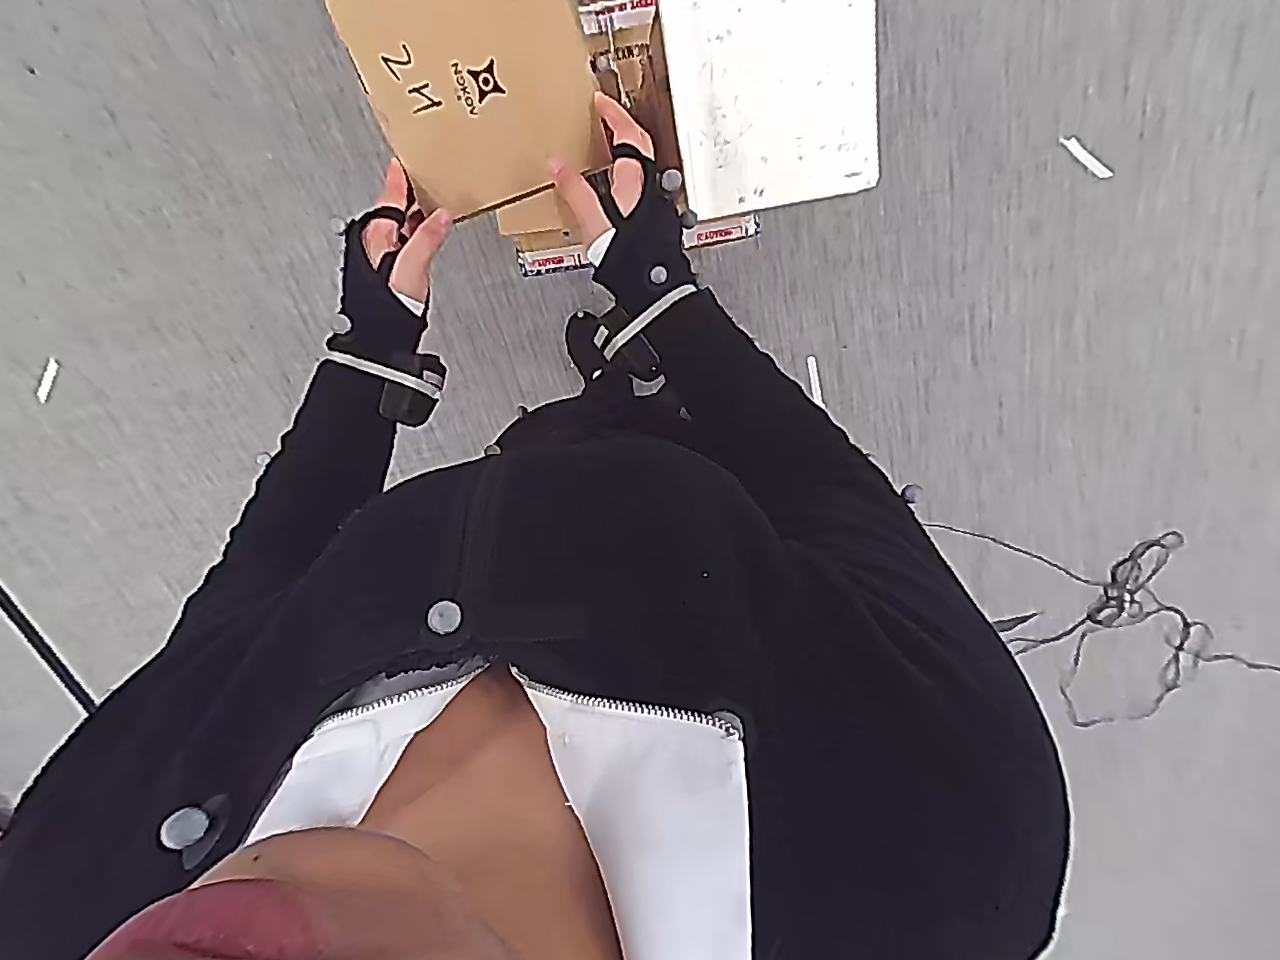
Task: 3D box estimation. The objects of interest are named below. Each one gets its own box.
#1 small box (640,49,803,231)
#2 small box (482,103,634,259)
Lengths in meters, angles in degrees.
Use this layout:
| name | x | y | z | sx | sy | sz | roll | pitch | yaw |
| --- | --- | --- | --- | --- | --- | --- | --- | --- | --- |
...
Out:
| name | x | y | z | sx | sy | sz | roll | pitch | yaw |
| --- | --- | --- | --- | --- | --- | --- | --- | --- | --- |
| small box | 0.107 | -0.460 | 0.759 | 0.179 | 0.176 | 0.168 | -15 | 112 | 2 |
| small box | -0.104 | -0.412 | 0.767 | 0.179 | 0.176 | 0.168 | -6 | 113 | 1 |
